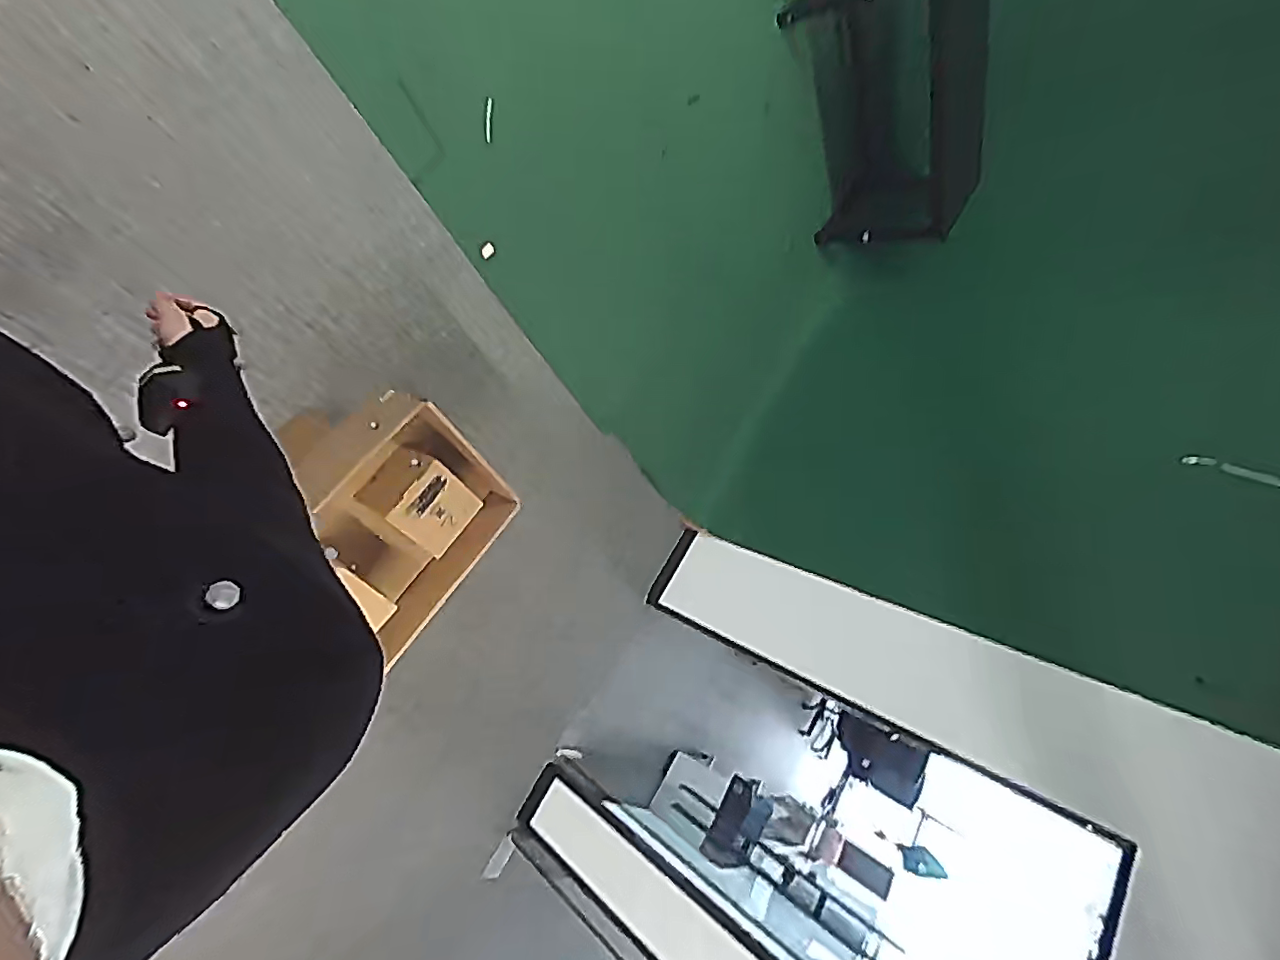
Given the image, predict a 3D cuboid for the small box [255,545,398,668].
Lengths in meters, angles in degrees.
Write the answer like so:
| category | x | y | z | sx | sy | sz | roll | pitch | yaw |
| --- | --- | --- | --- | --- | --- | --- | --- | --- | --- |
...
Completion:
| category | x | y | z | sx | sy | sz | roll | pitch | yaw |
| --- | --- | --- | --- | --- | --- | --- | --- | --- | --- |
| small box | -0.668 | 0.263 | 1.153 | 0.168 | 0.176 | 0.179 | -53 | 137 | -22 |
